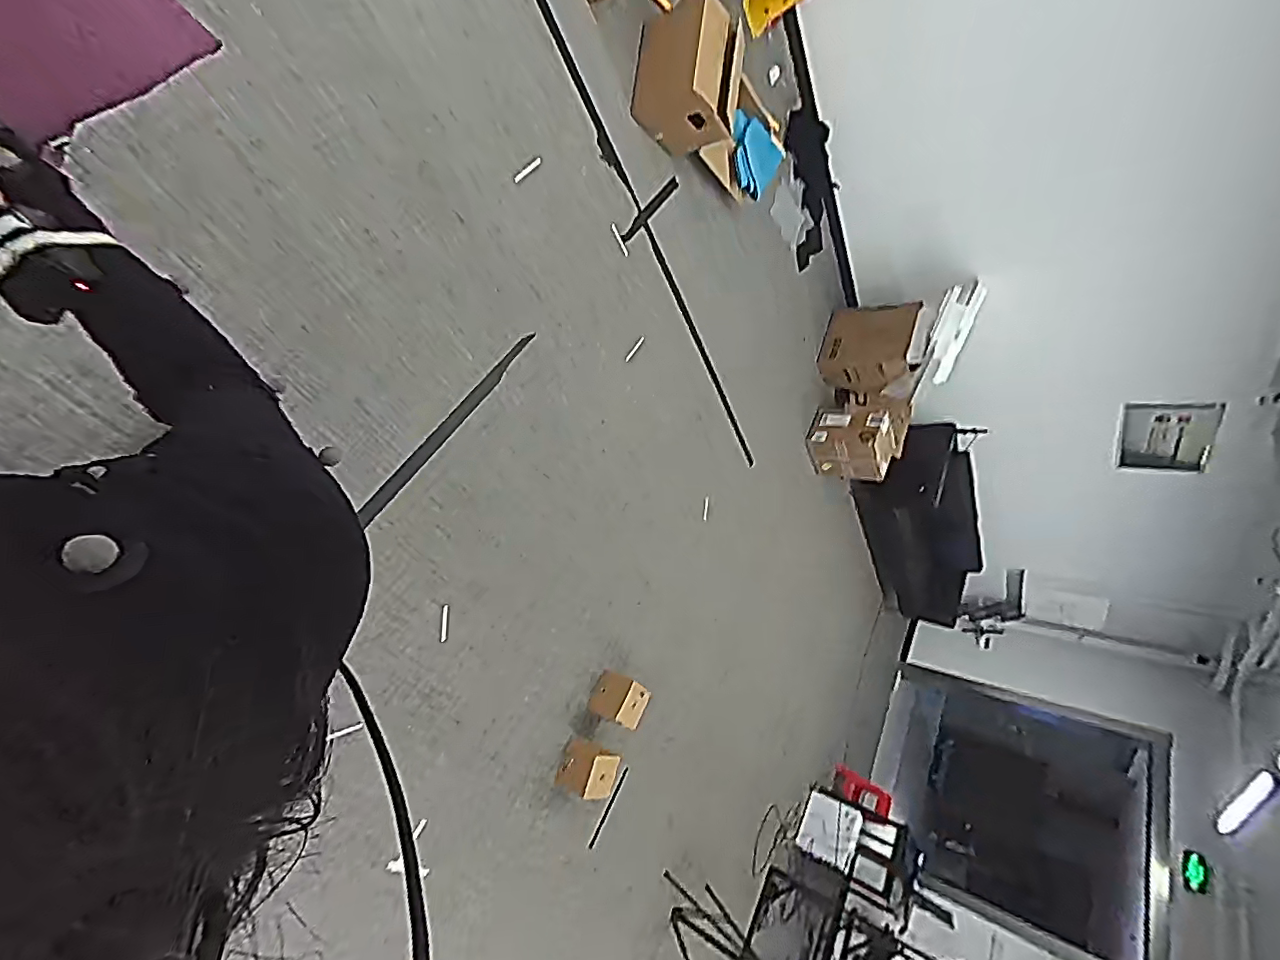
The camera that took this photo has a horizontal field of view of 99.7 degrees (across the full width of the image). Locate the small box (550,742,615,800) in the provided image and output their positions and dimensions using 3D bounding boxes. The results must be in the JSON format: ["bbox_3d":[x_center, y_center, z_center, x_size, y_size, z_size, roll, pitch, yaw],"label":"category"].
[{"bbox_3d":[-0.240,1.207,2.247,0.179,0.176,0.168,35,67,-47],"label":"small box"}]

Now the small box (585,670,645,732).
[{"bbox_3d":[-0.116,0.966,2.369,0.179,0.176,0.168,-59,136,-28],"label":"small box"}]
